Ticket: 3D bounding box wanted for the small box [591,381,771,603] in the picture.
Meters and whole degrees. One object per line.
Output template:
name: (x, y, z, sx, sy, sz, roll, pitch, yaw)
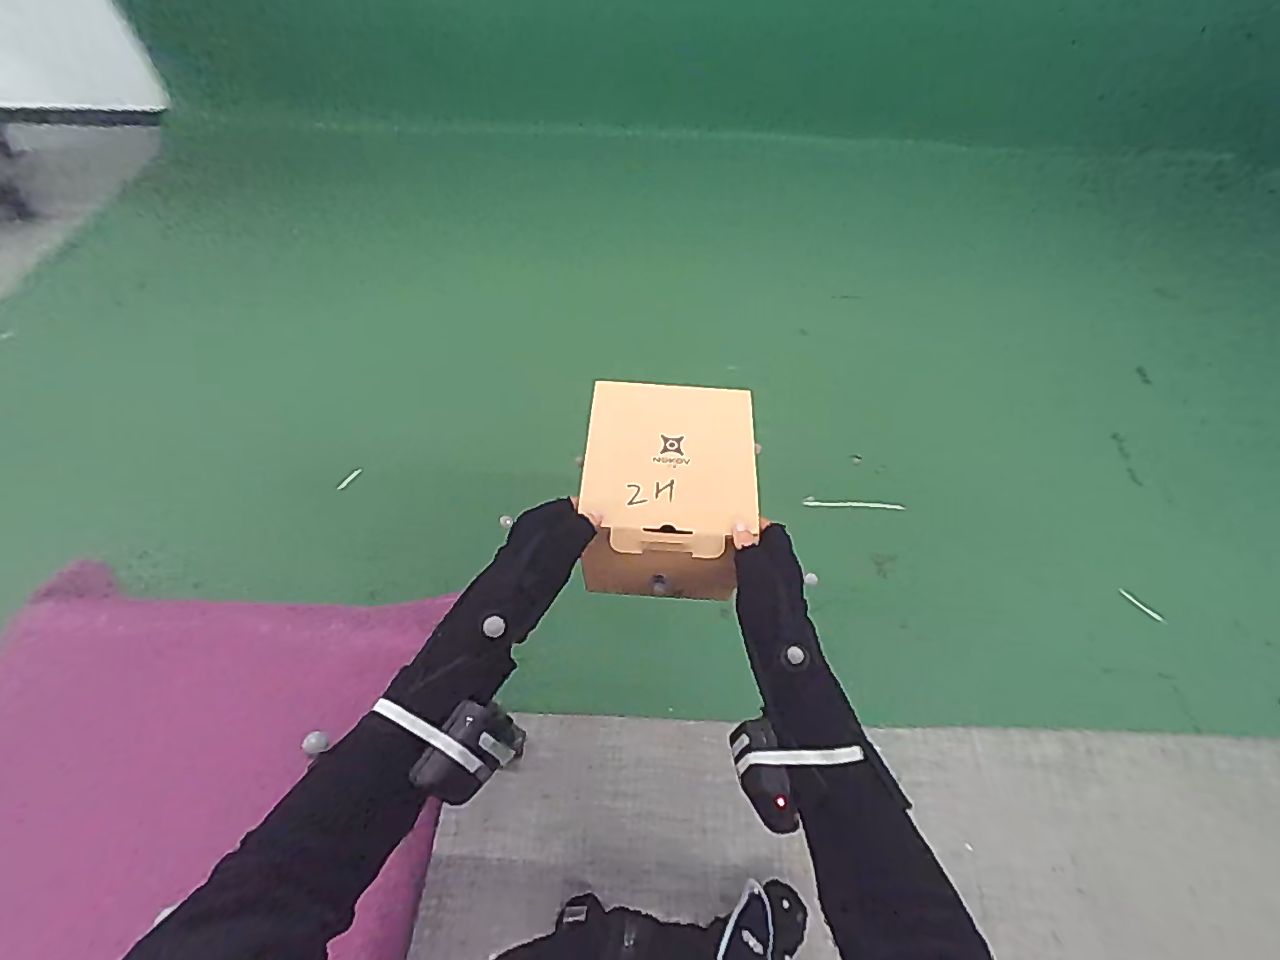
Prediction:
small box: (0.039, 0.018, 0.591, 0.168, 0.176, 0.179, 5, 60, 1)
